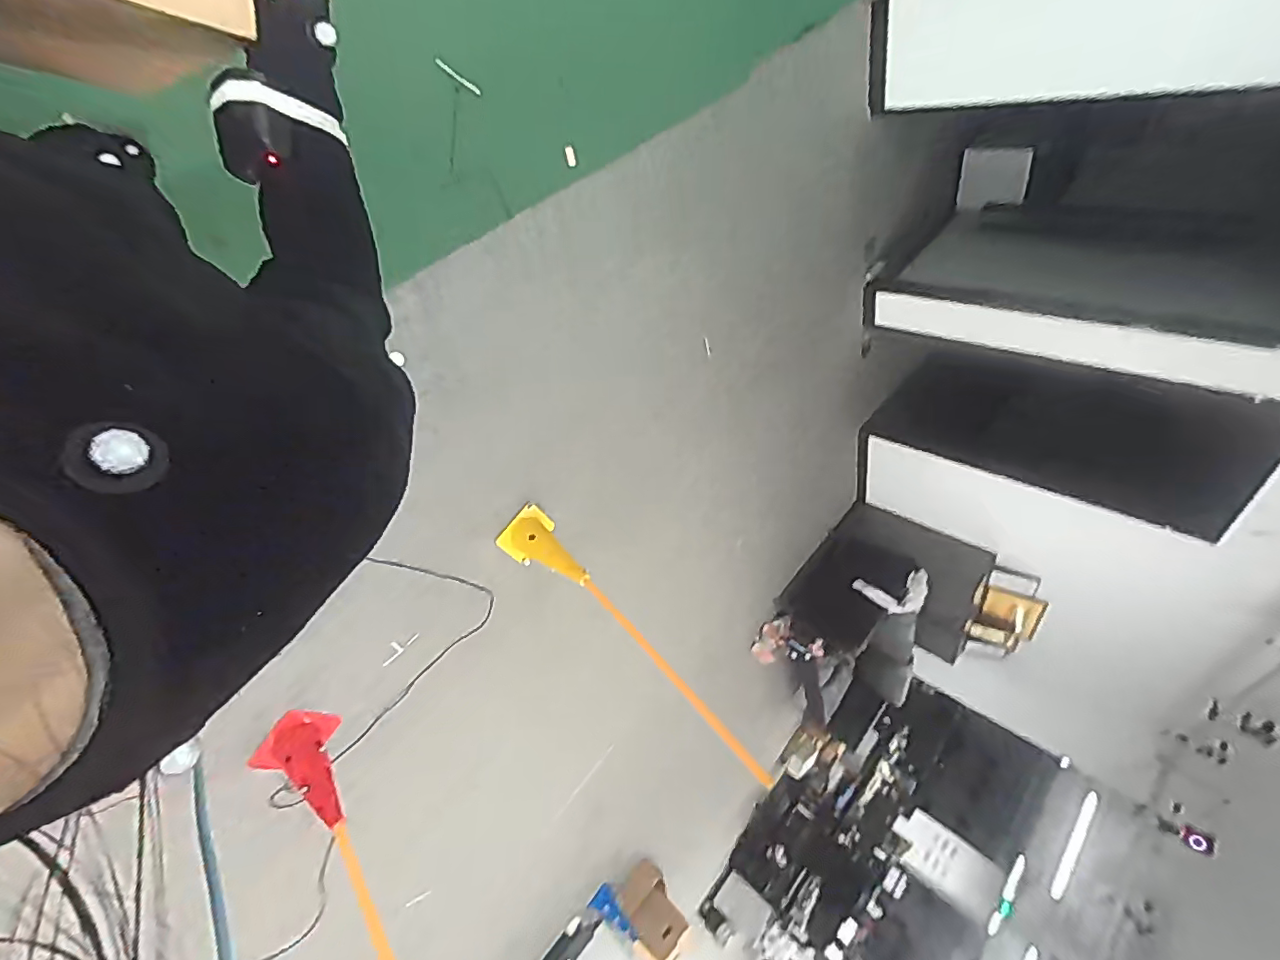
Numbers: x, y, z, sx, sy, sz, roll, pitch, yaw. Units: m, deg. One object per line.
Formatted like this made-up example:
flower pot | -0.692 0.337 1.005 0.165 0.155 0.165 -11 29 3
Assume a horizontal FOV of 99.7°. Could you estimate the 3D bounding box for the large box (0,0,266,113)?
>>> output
large box | -0.521 -0.457 0.315 0.408 0.320 0.320 -18 119 -48
